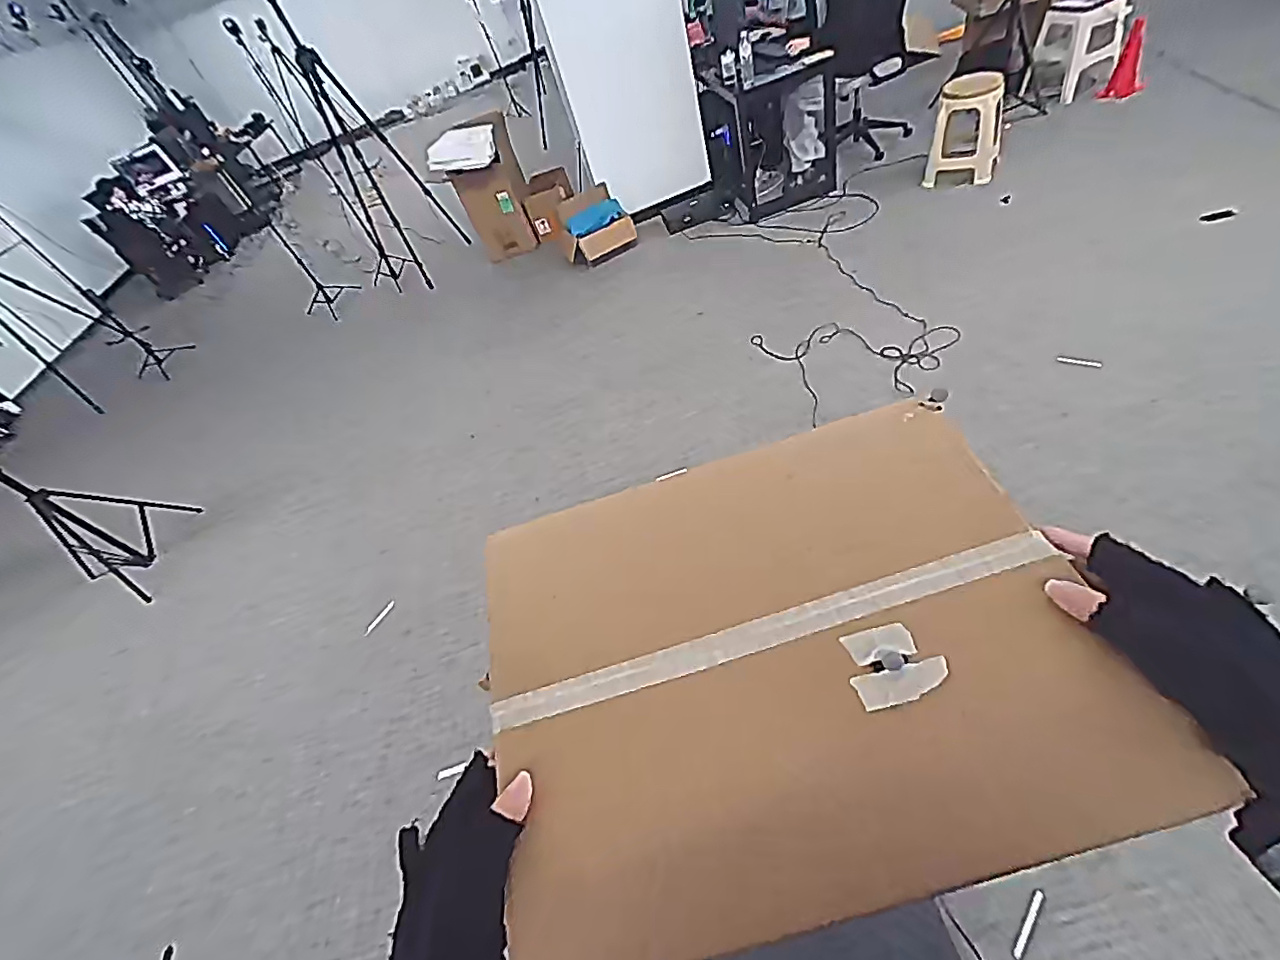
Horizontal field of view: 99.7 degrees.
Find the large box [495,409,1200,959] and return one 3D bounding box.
[{"bbox_3d":[0.121,0.199,0.511,0.408,0.320,0.320,-18,53,2],"label":"large box"}]
